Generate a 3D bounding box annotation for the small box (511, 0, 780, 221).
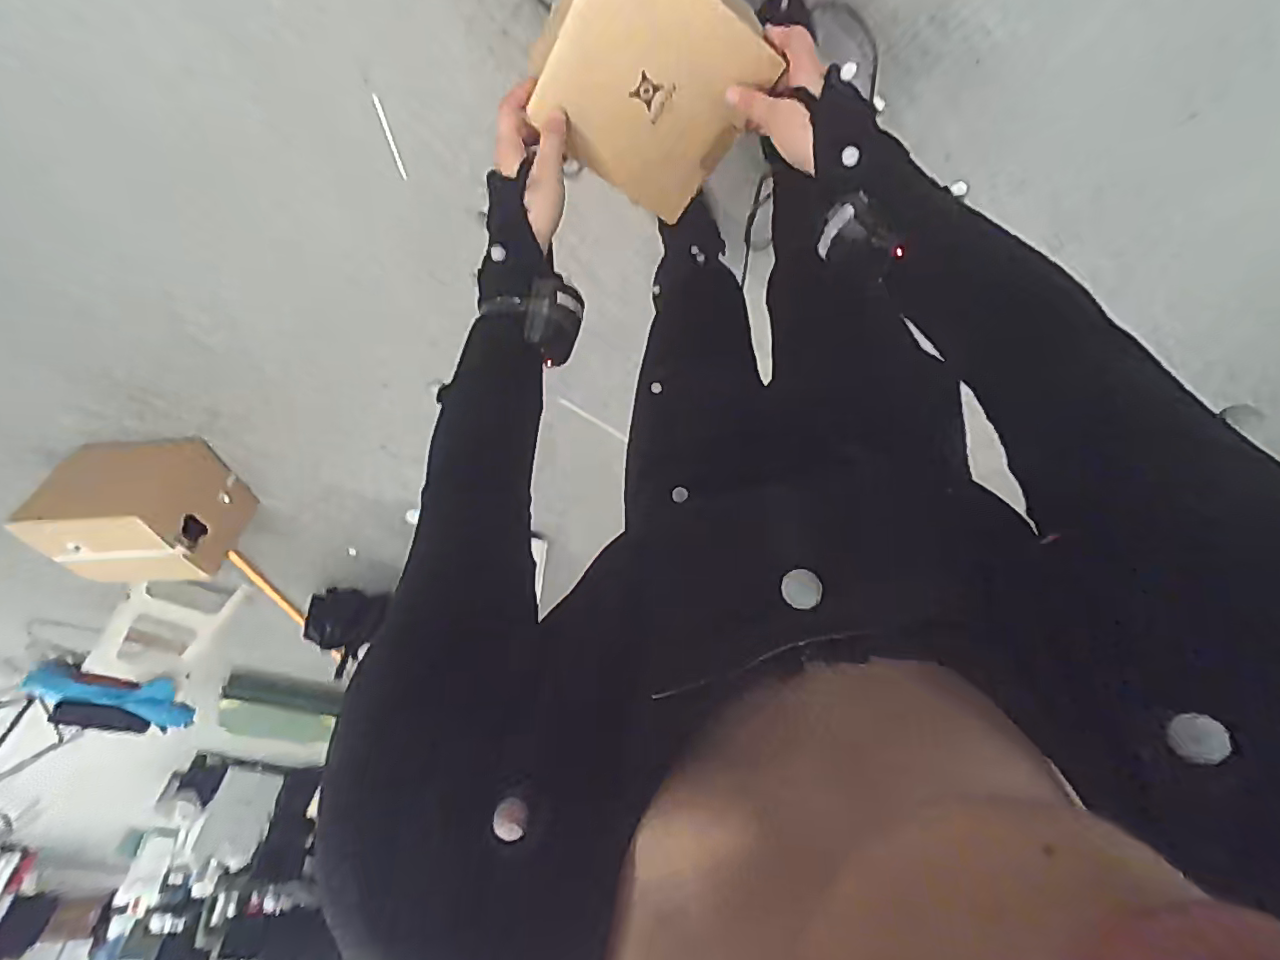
[{"bbox_3d":[-0.004,-0.393,0.508,0.179,0.176,0.168,18,137,-29],"label":"small box"}]
